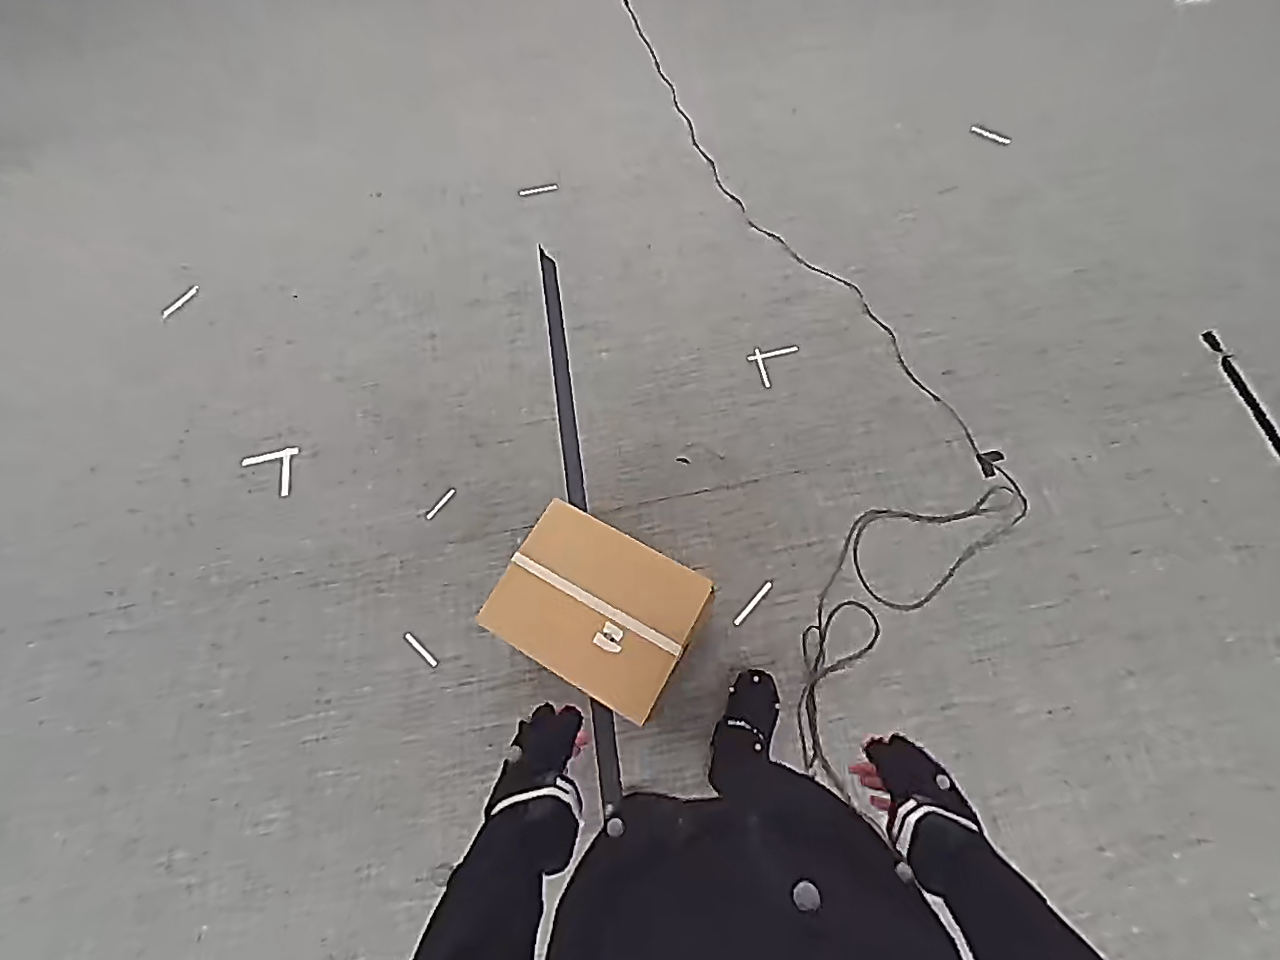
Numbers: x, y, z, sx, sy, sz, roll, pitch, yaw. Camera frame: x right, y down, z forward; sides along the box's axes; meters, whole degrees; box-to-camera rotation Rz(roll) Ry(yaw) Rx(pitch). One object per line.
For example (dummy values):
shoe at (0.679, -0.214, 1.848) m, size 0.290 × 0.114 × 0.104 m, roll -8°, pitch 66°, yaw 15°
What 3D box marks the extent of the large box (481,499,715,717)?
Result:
large box at (-0.080, 0.302, 1.259) m, size 0.408 × 0.320 × 0.320 m, roll 27°, pitch 73°, yaw 14°
